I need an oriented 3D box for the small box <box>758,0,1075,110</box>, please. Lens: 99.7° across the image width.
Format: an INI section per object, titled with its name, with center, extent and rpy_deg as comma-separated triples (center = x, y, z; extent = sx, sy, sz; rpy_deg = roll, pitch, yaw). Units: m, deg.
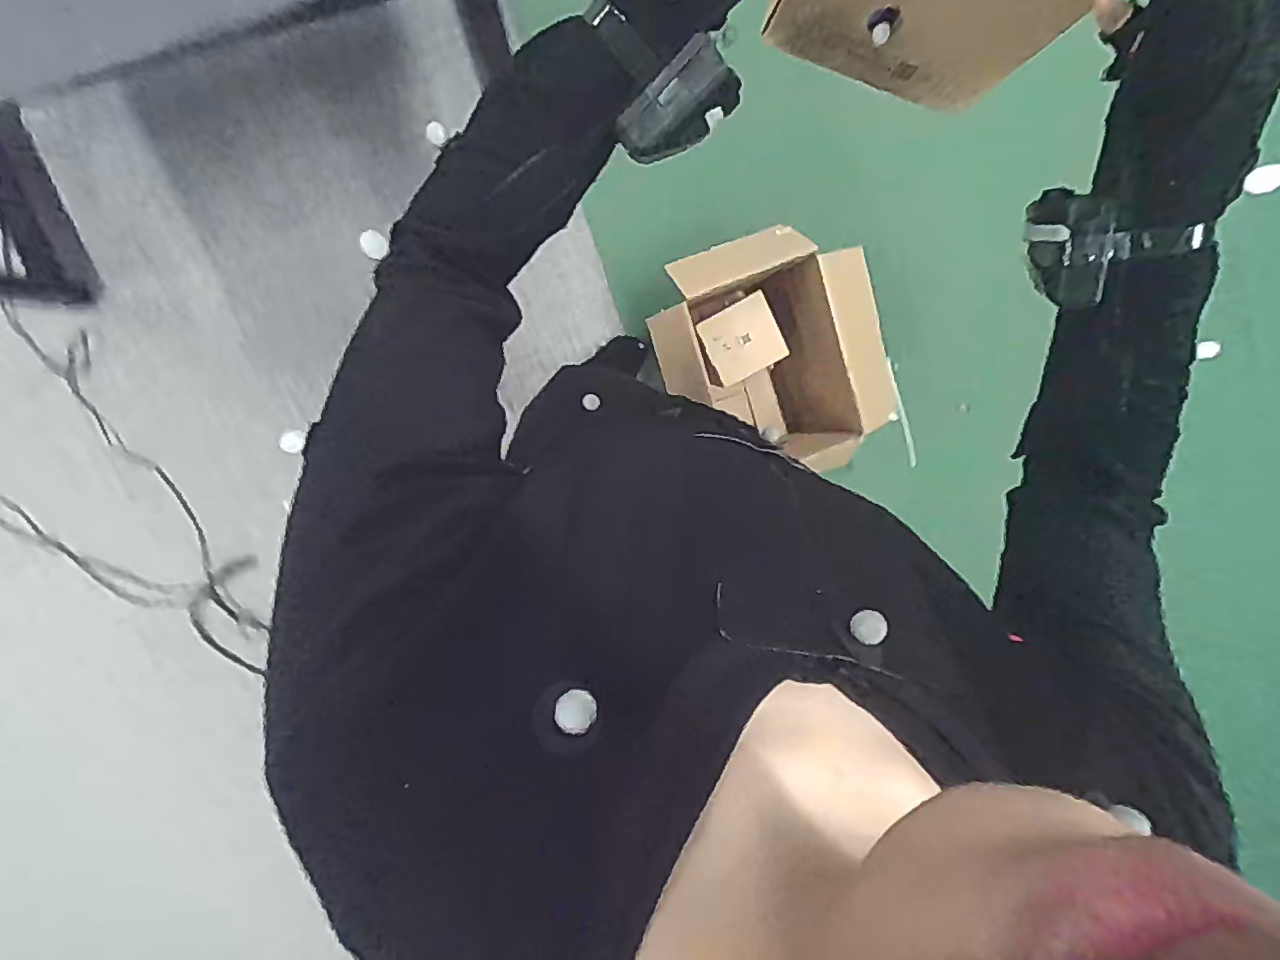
[small box]
center = 0.188, -0.379, 0.326
extent = 0.168, 0.176, 0.179
rpy_deg = 13, 94, -8
